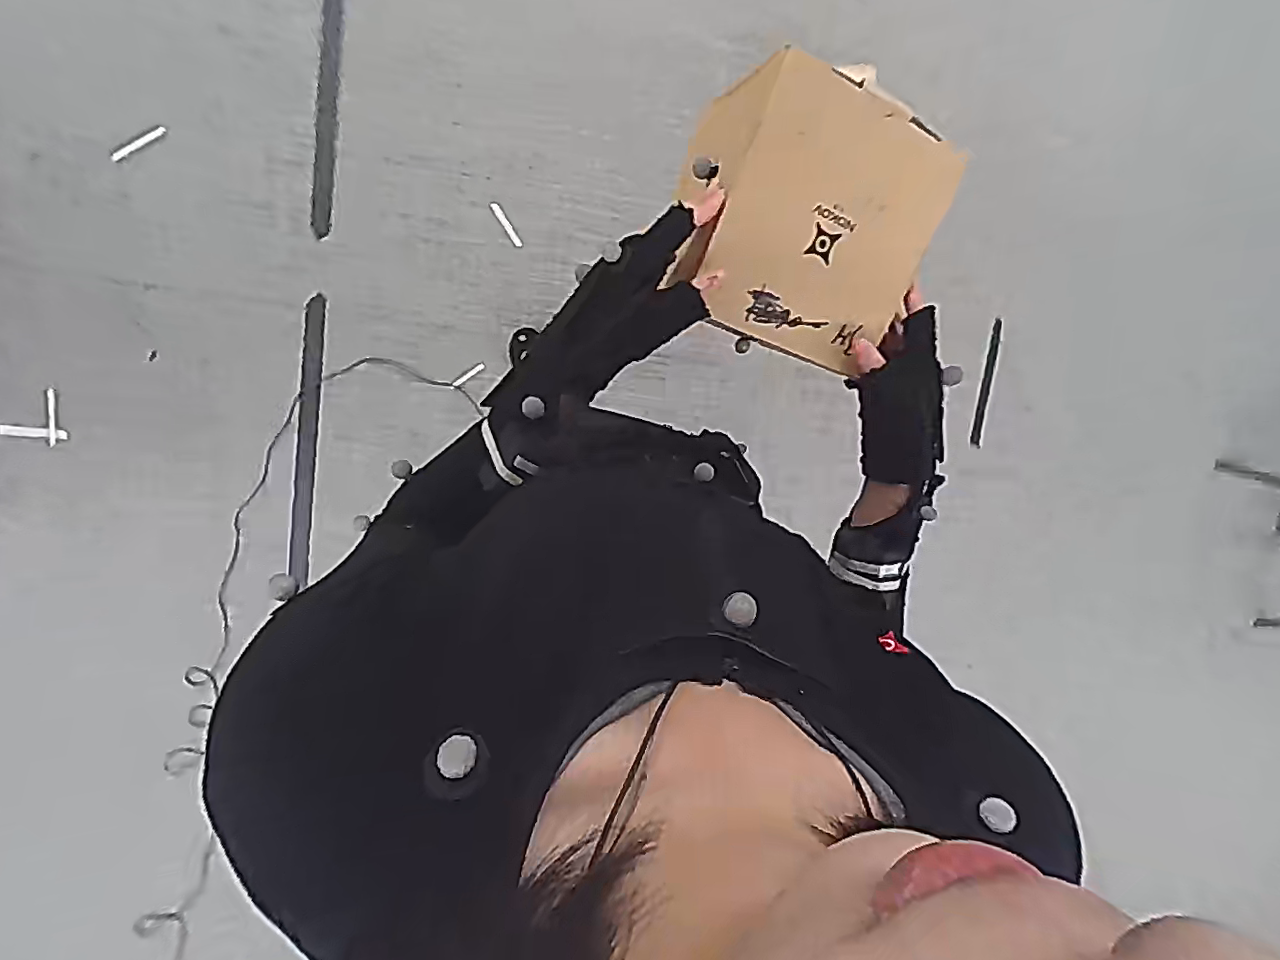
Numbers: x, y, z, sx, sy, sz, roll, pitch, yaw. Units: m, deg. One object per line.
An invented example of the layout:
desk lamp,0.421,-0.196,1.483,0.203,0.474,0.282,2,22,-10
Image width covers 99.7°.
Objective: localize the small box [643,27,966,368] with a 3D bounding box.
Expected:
small box,0.116,-0.218,0.459,0.168,0.176,0.179,16,108,-19
